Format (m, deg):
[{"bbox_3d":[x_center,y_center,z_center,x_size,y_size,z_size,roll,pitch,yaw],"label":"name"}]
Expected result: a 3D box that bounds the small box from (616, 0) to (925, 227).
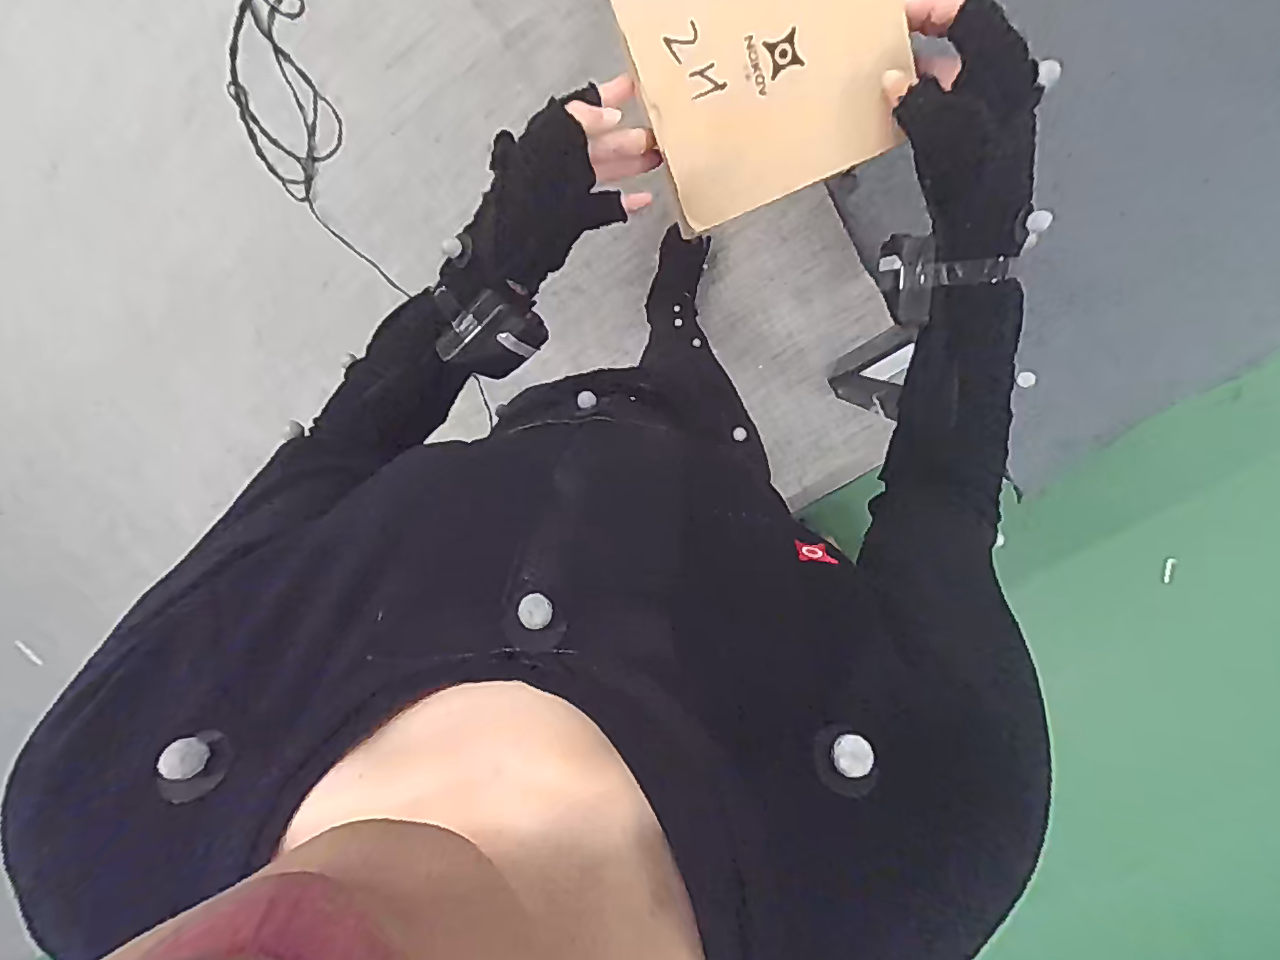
[{"bbox_3d":[0.091,-0.320,0.432,0.179,0.176,0.168,-20,111,12],"label":"small box"}]
